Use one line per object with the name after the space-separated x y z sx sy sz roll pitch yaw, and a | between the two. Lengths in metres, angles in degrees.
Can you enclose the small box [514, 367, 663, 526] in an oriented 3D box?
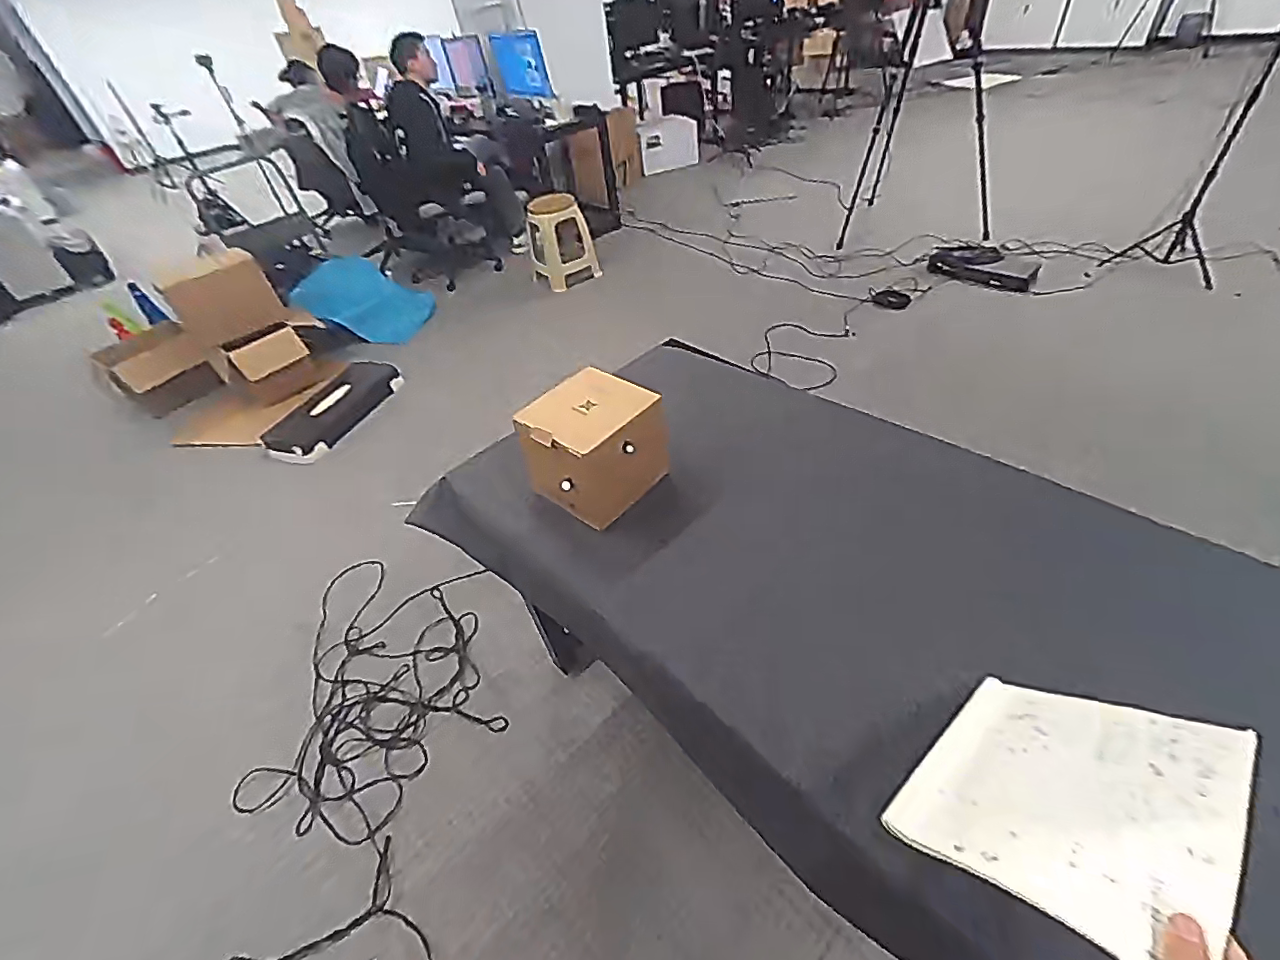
-0.074 -0.055 0.896 0.168 0.176 0.179 28 53 32 | small box
